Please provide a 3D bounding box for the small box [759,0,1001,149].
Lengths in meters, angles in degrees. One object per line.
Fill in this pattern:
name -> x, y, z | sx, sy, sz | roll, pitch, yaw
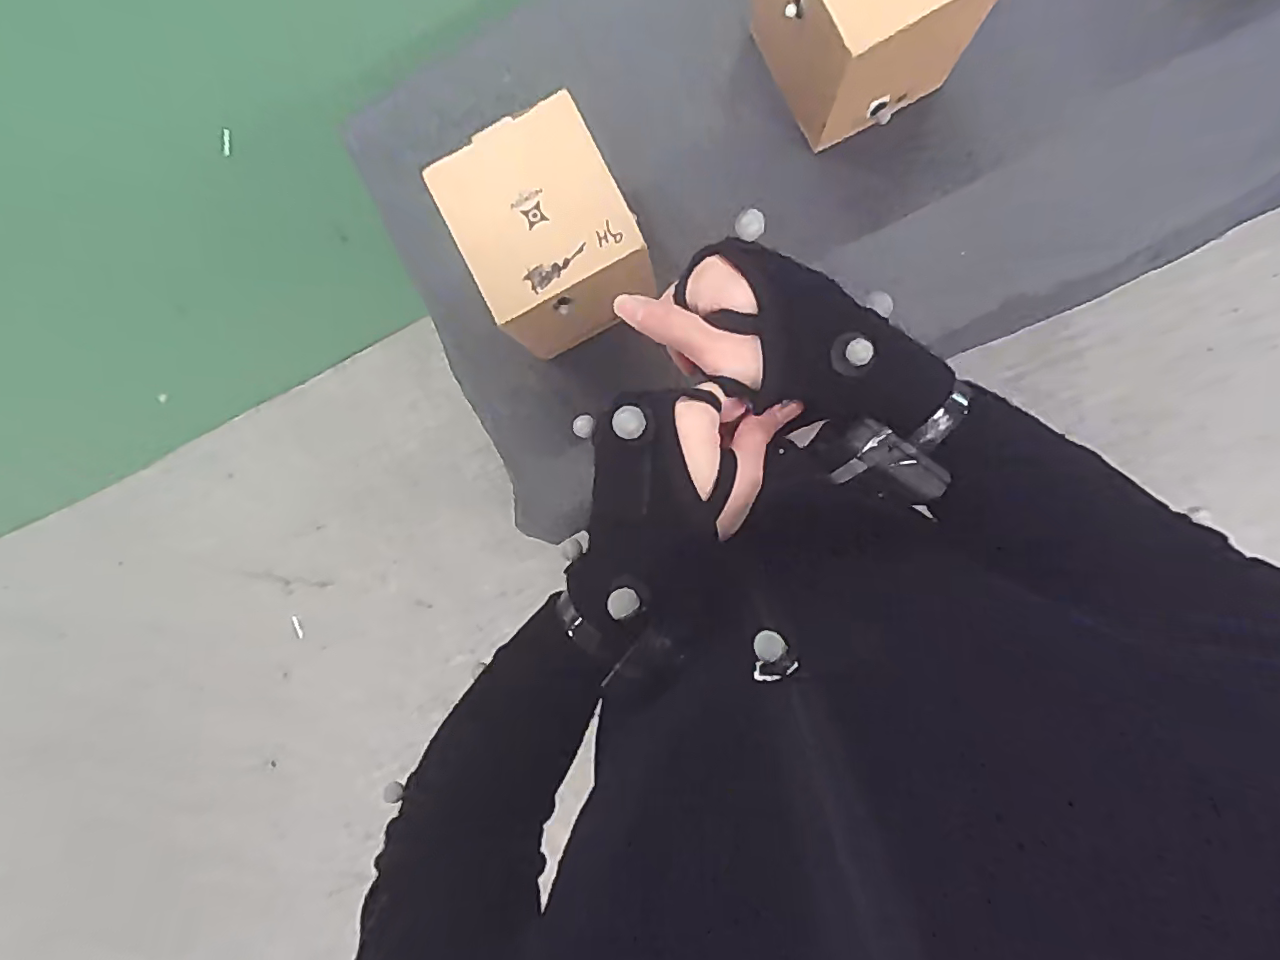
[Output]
small box -> 0.238, -0.499, 0.562 | 0.168, 0.176, 0.179 | -27, 90, 7

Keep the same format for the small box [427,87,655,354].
small box -> -0.094, -0.265, 0.598 | 0.168, 0.176, 0.179 | -27, 88, 6
